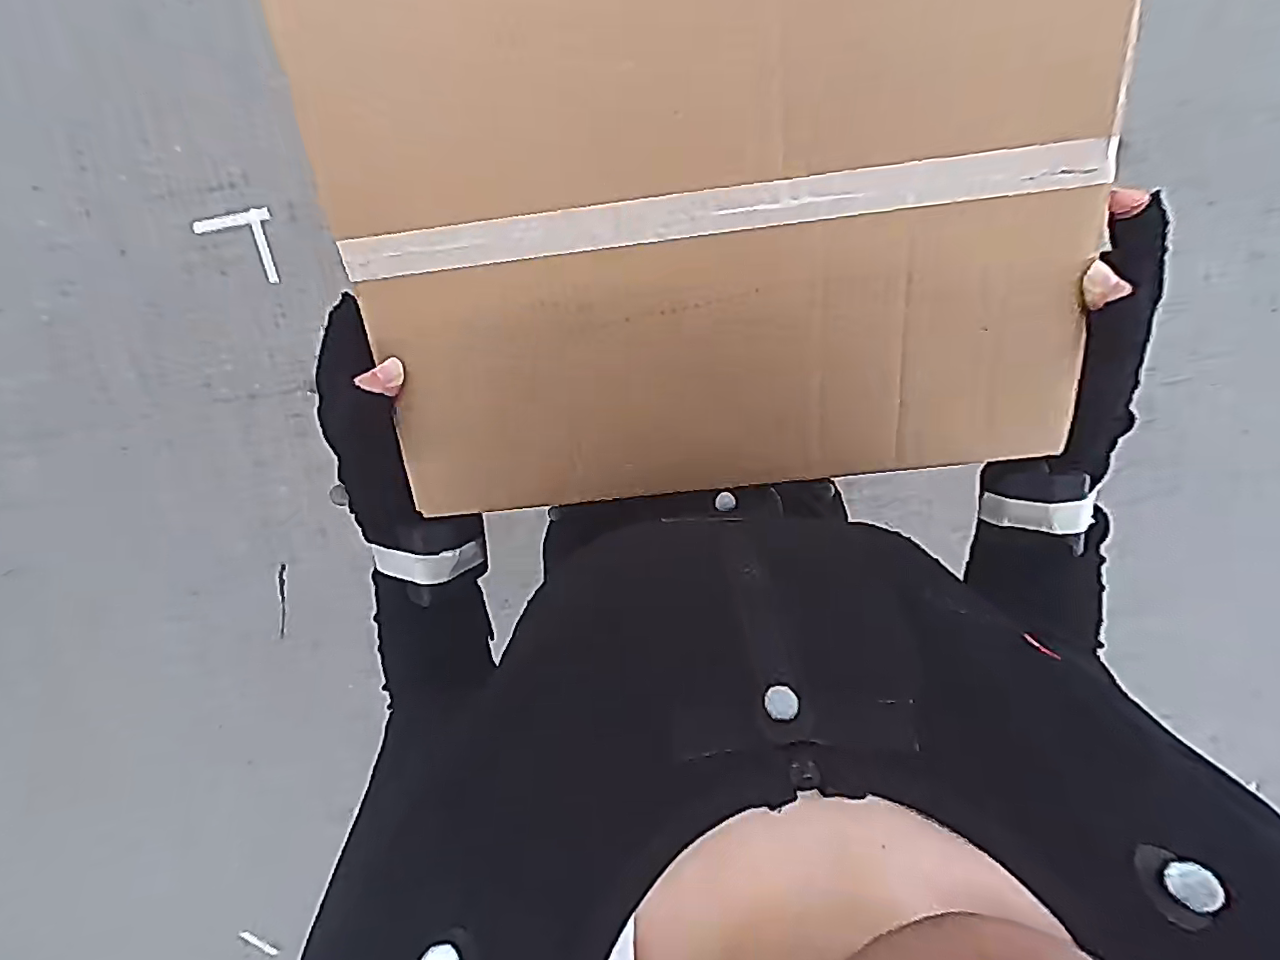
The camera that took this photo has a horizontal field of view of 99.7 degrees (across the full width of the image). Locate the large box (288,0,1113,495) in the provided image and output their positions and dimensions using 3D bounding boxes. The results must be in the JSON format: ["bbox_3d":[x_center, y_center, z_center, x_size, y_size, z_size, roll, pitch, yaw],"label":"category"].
[{"bbox_3d":[0.037,-0.205,0.433,0.408,0.320,0.320,-6,112,3],"label":"large box"}]
